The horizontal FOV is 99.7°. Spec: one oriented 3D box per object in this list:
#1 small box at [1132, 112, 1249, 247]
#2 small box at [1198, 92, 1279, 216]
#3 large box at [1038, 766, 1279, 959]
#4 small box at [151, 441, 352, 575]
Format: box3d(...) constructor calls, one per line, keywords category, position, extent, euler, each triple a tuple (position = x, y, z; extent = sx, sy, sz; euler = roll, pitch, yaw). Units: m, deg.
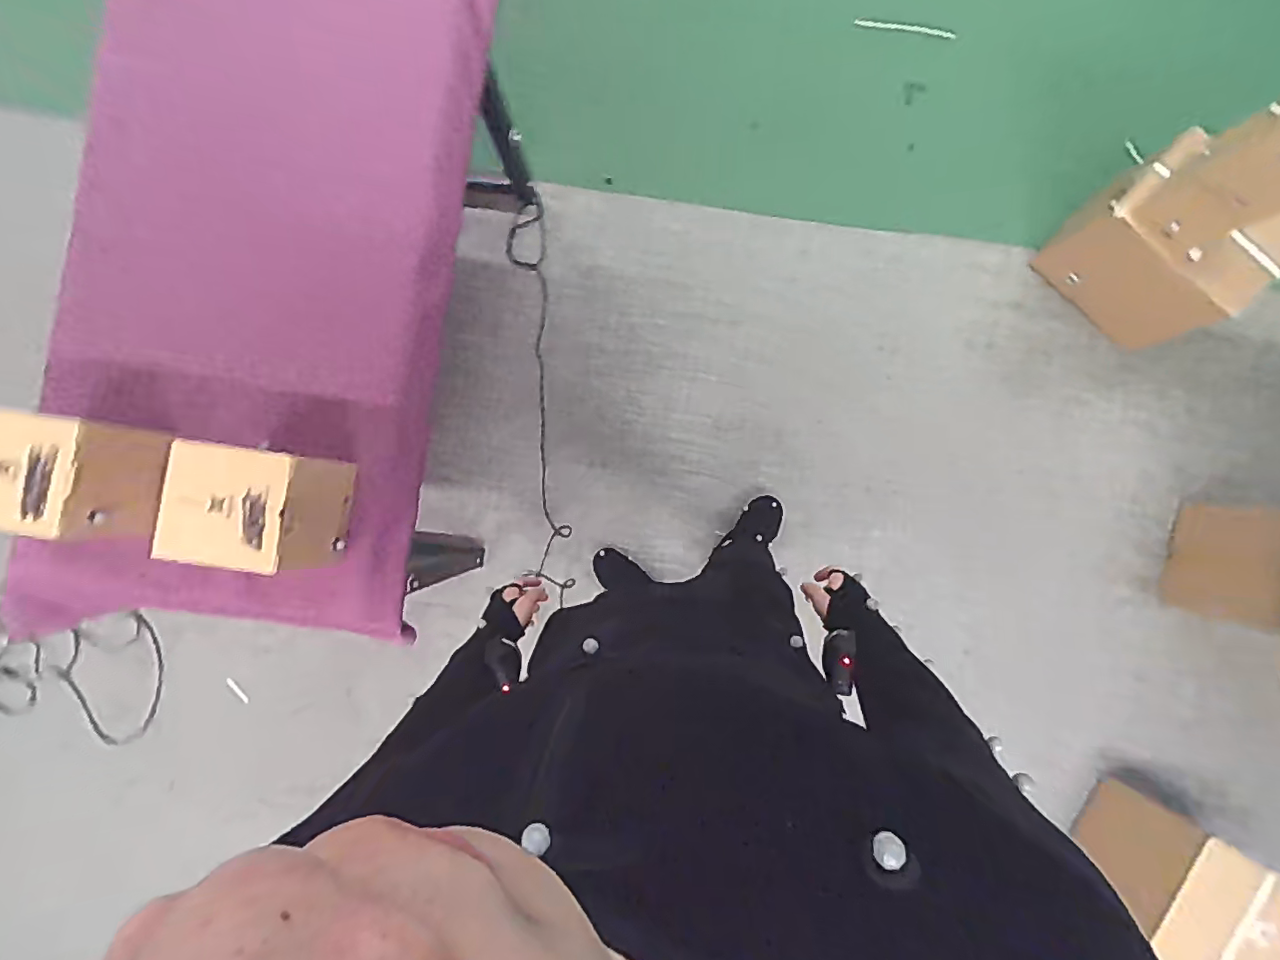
box3d(category="small box", position=(1.327, -0.690, 1.261), extent=(0.168, 0.176, 0.179), euler=(43, 90, 2))
box3d(category="small box", position=(1.320, -0.688, 1.097), extent=(0.168, 0.176, 0.179), euler=(42, 89, 1))
box3d(category="large box", position=(1.381, 1.078, 1.436), extent=(0.320, 0.320, 0.408), euler=(31, 87, 1))
box3d(category="small box", position=(-0.569, 0.041, 0.817), extent=(0.179, 0.176, 0.168), euler=(7, 87, 1))
